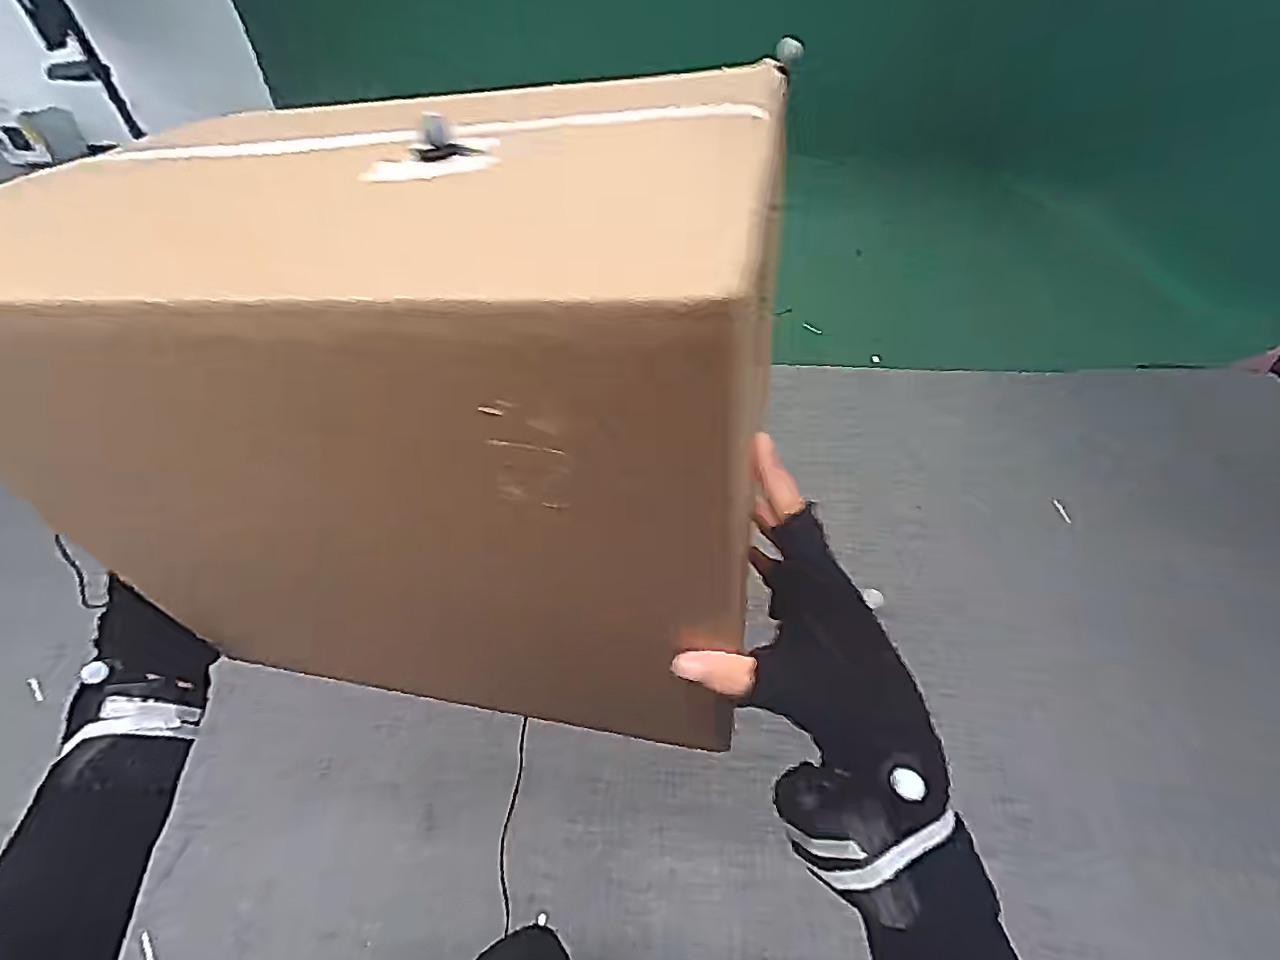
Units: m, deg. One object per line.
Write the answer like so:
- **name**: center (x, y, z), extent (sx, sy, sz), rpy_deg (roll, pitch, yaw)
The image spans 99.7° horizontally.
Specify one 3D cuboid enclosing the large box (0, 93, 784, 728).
- **large box**: center (-0.116, -0.058, 0.398), extent (0.408, 0.320, 0.320), rpy_deg (5, 46, 13)
